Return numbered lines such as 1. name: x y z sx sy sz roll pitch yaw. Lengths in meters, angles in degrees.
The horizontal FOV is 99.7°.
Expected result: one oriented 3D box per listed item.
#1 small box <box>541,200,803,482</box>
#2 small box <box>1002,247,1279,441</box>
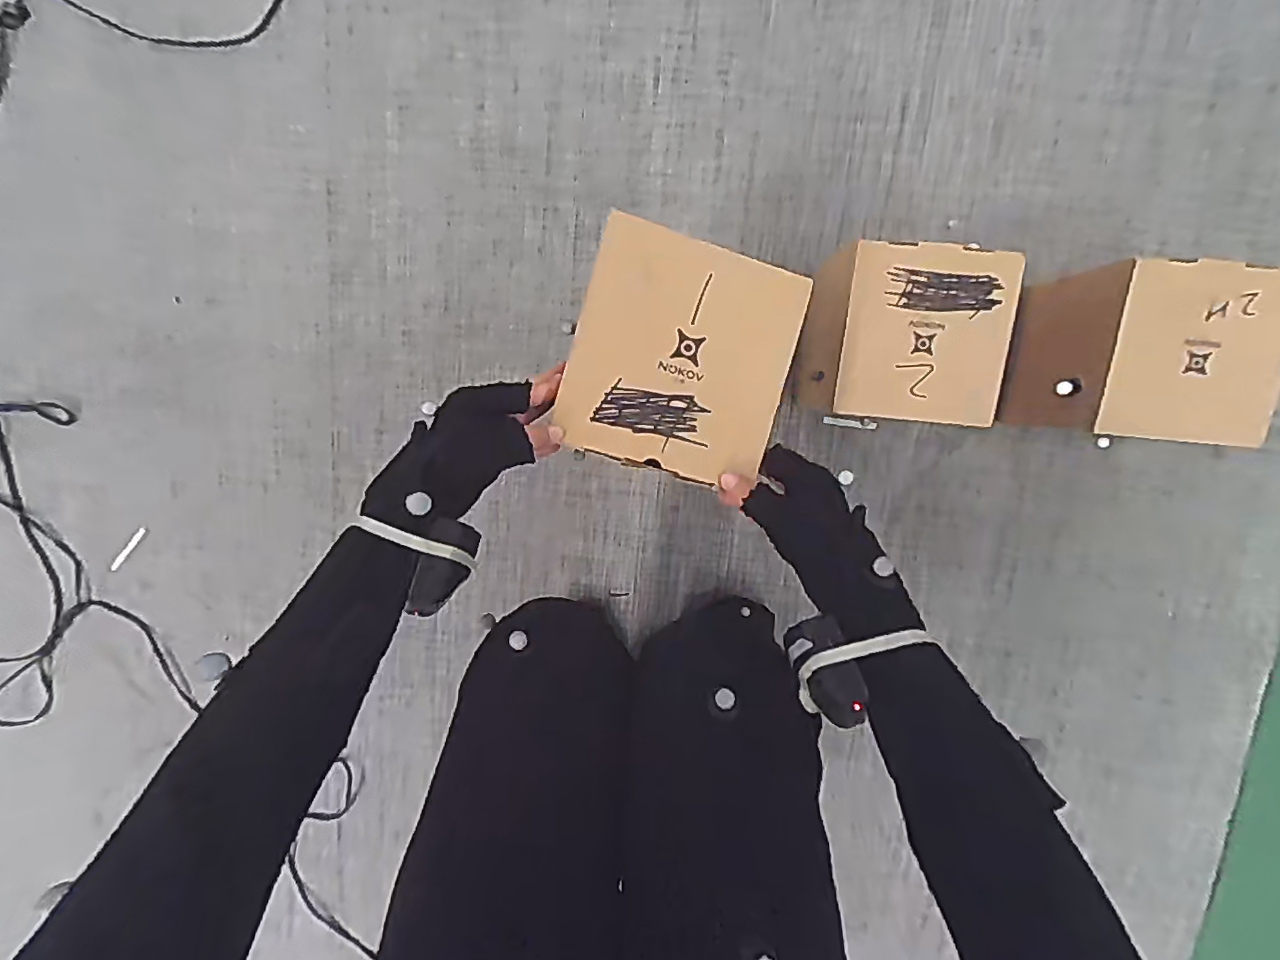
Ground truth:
1. small box: 0.018 -0.108 0.489 0.168 0.176 0.179 15 92 -8
2. small box: 0.549 -0.146 0.610 0.168 0.176 0.179 6 100 3
